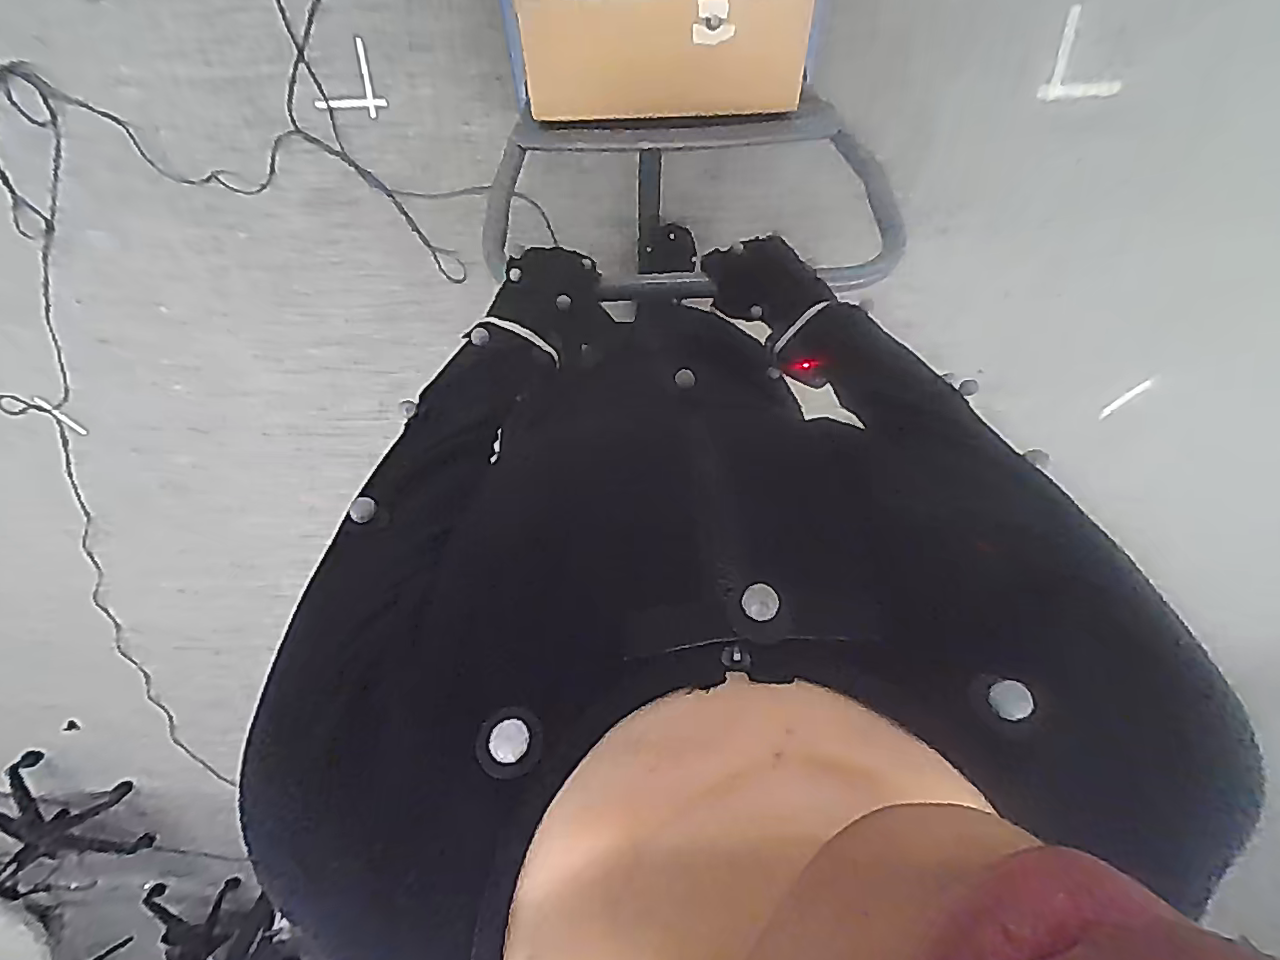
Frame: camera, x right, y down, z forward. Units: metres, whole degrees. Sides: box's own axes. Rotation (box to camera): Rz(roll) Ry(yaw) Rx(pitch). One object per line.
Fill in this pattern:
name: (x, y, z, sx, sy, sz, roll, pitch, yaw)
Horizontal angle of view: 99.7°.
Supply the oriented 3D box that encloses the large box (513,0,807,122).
large box: (0.020, -0.766, 0.811, 0.408, 0.320, 0.320, -3, 136, 0)
